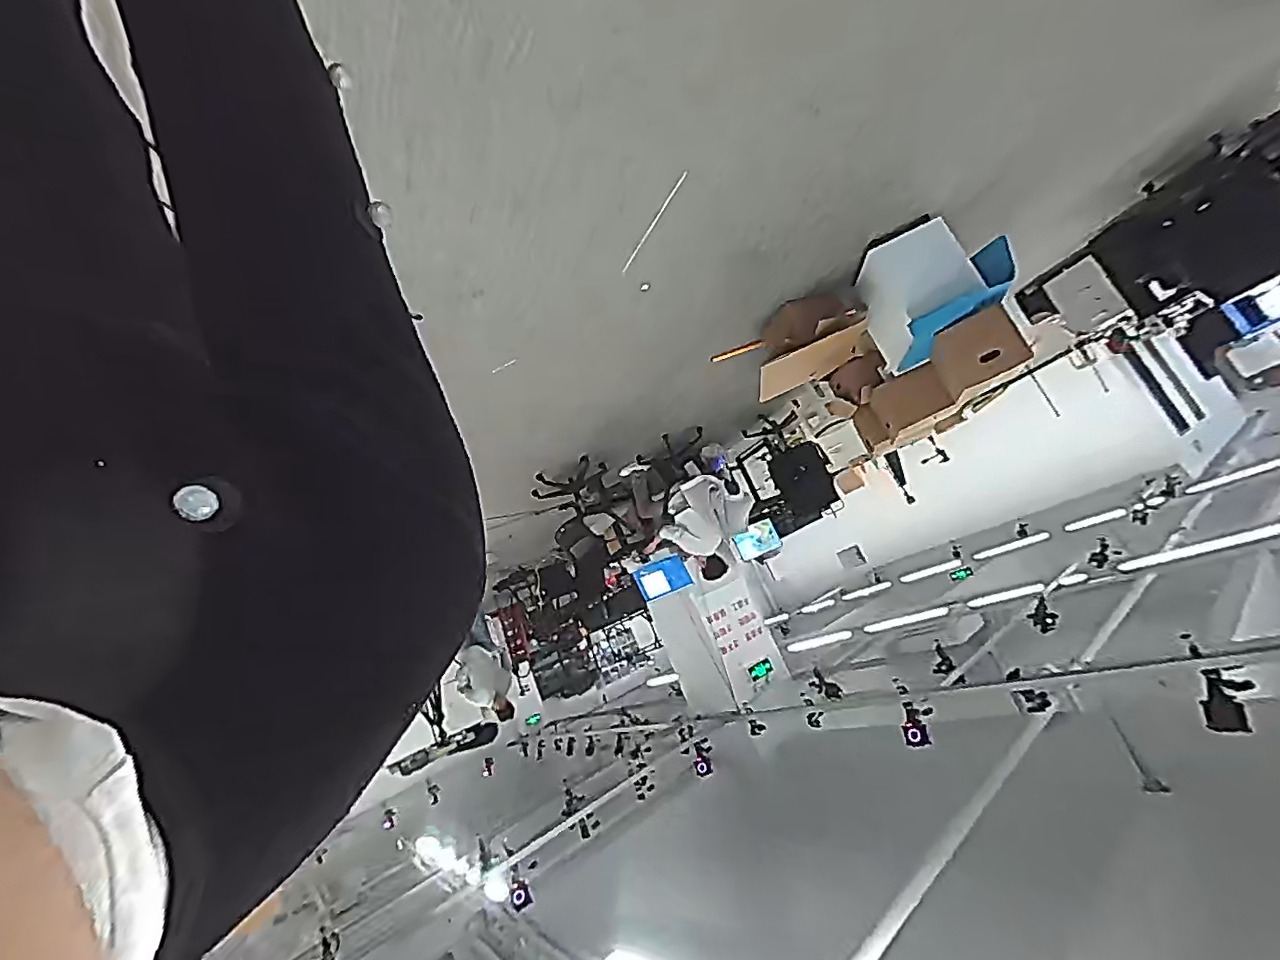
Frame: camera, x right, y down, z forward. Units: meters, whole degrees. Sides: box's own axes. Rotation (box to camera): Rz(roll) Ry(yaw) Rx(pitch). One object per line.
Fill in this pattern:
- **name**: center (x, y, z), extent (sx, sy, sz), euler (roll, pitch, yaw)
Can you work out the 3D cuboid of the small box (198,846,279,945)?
- **small box**: center (-1.205, 1.233, 1.623), extent (0.168, 0.176, 0.179), euler (-14, 164, -40)
